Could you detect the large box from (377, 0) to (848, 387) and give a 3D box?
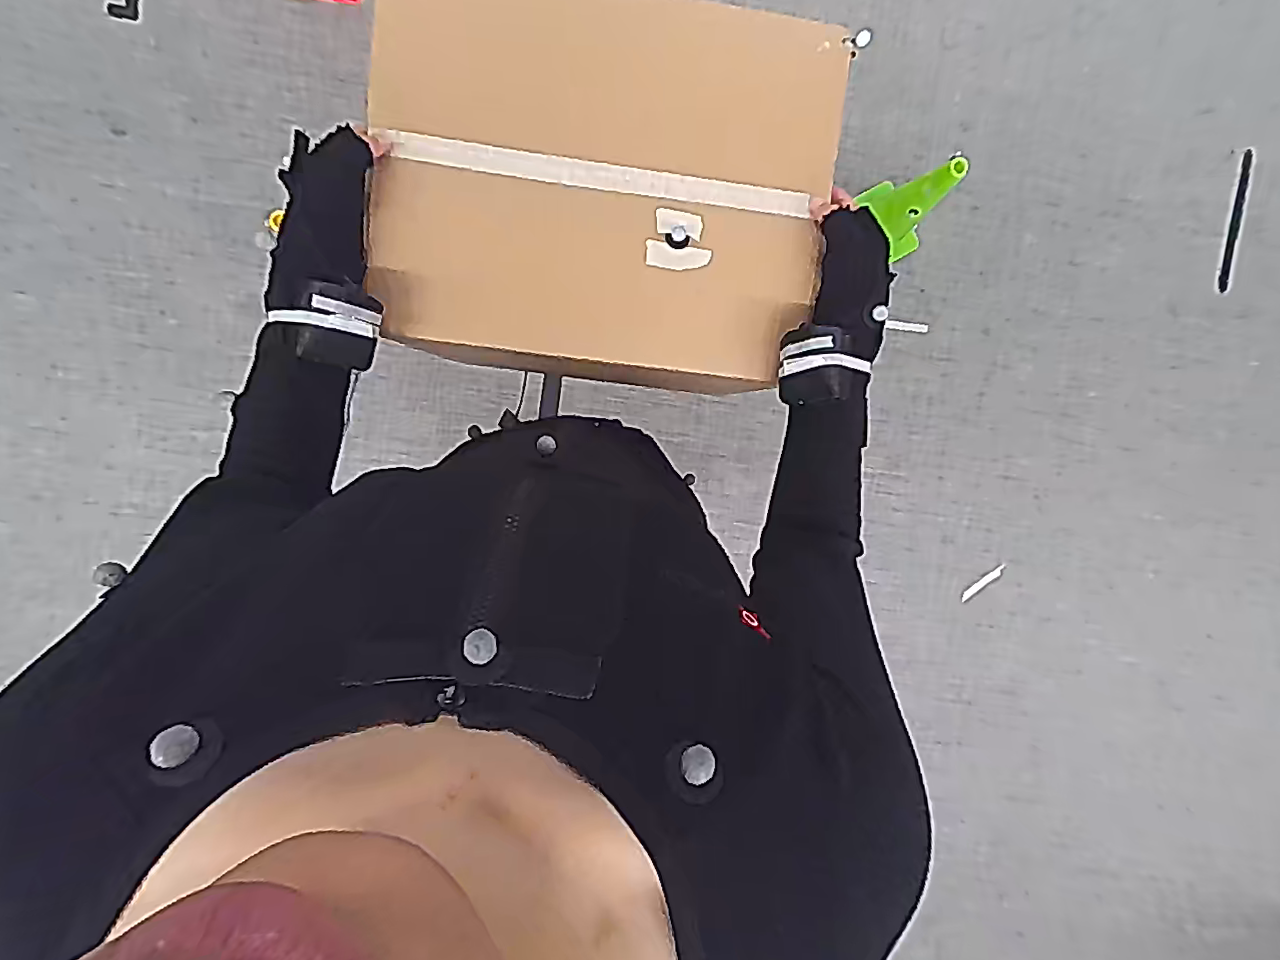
[{"bbox_3d":[-0.038,-0.288,0.626,0.408,0.320,0.320,6,97,-6],"label":"large box"}]

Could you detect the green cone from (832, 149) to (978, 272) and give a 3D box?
[{"bbox_3d":[0.652,-0.669,1.282,0.202,0.368,0.200,-30,98,-2],"label":"green cone"}]
